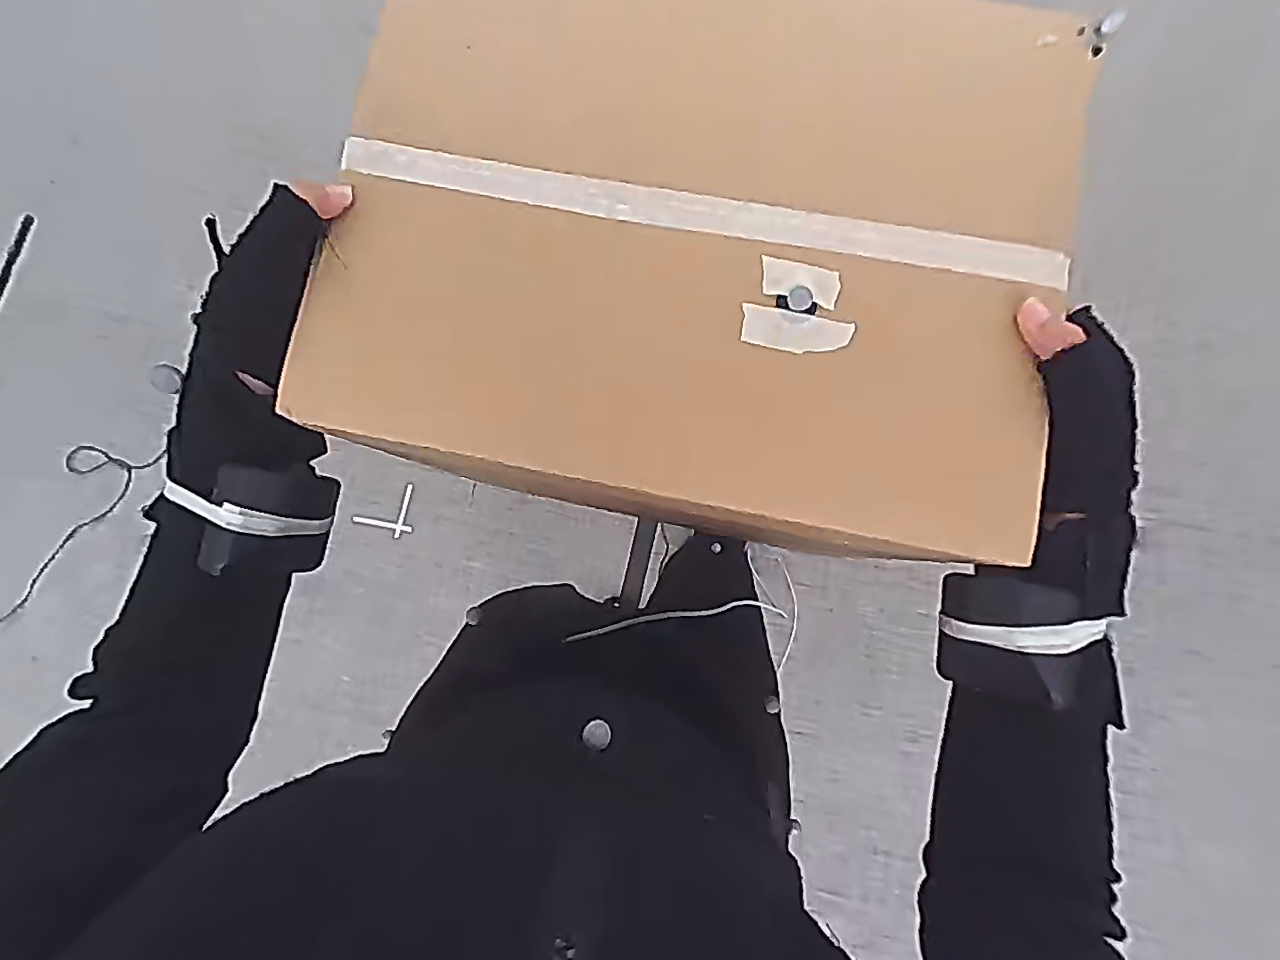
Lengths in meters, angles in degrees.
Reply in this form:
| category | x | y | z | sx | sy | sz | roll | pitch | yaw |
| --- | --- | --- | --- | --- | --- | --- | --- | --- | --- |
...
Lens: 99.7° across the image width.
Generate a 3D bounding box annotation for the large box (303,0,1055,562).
| category | x | y | z | sx | sy | sz | roll | pitch | yaw |
| --- | --- | --- | --- | --- | --- | --- | --- | --- | --- |
| large box | 0.030 | -0.120 | 0.464 | 0.408 | 0.320 | 0.320 | 11 | 84 | 3 |
